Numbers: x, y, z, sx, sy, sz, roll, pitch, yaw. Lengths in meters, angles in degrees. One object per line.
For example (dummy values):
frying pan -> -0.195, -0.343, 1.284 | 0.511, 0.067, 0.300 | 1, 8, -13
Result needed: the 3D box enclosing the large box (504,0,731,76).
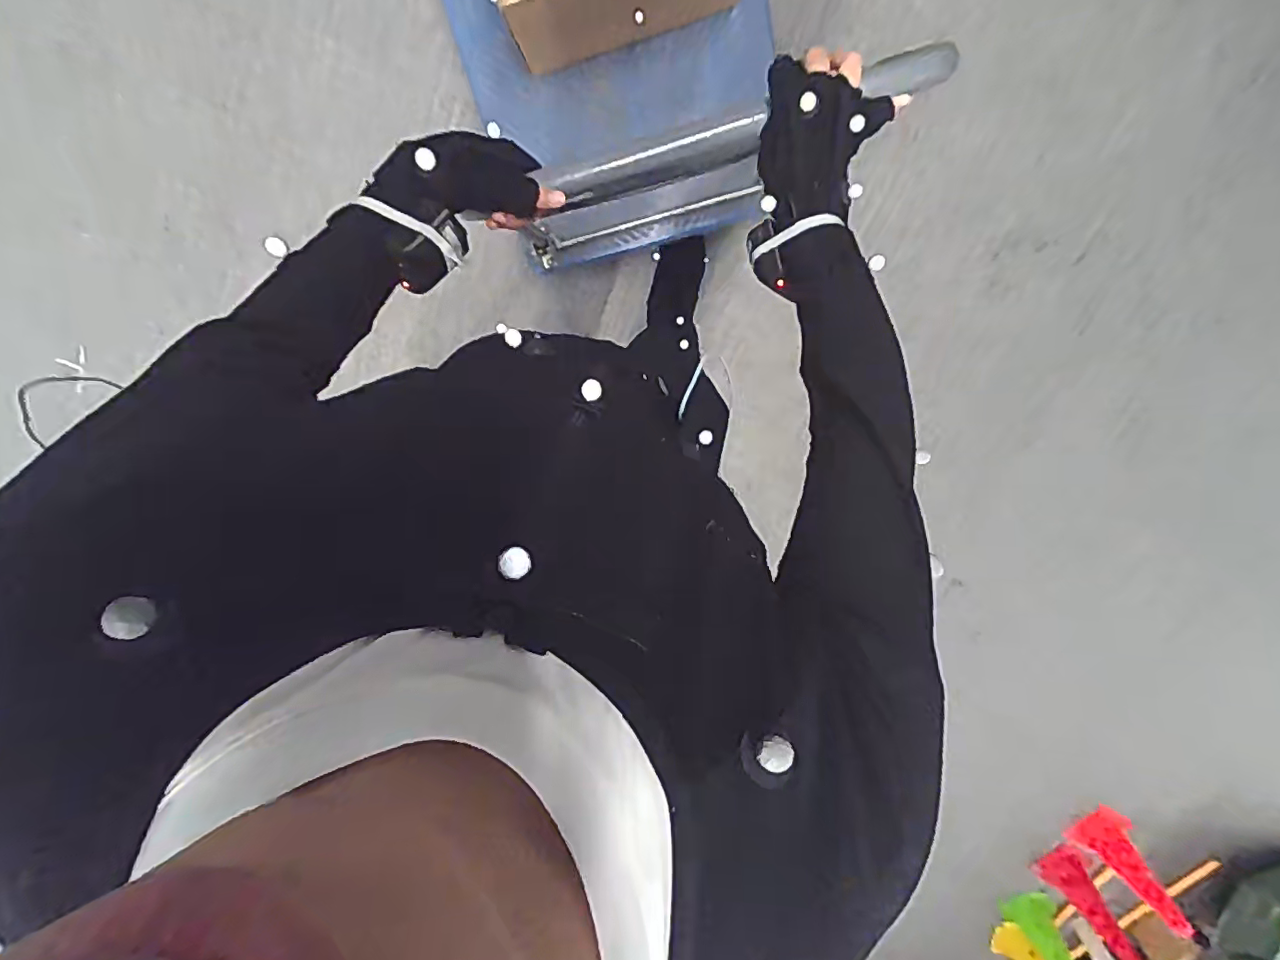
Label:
large box -> -0.046, -0.904, 0.823 | 0.408, 0.320, 0.320 | -17, 110, 5
